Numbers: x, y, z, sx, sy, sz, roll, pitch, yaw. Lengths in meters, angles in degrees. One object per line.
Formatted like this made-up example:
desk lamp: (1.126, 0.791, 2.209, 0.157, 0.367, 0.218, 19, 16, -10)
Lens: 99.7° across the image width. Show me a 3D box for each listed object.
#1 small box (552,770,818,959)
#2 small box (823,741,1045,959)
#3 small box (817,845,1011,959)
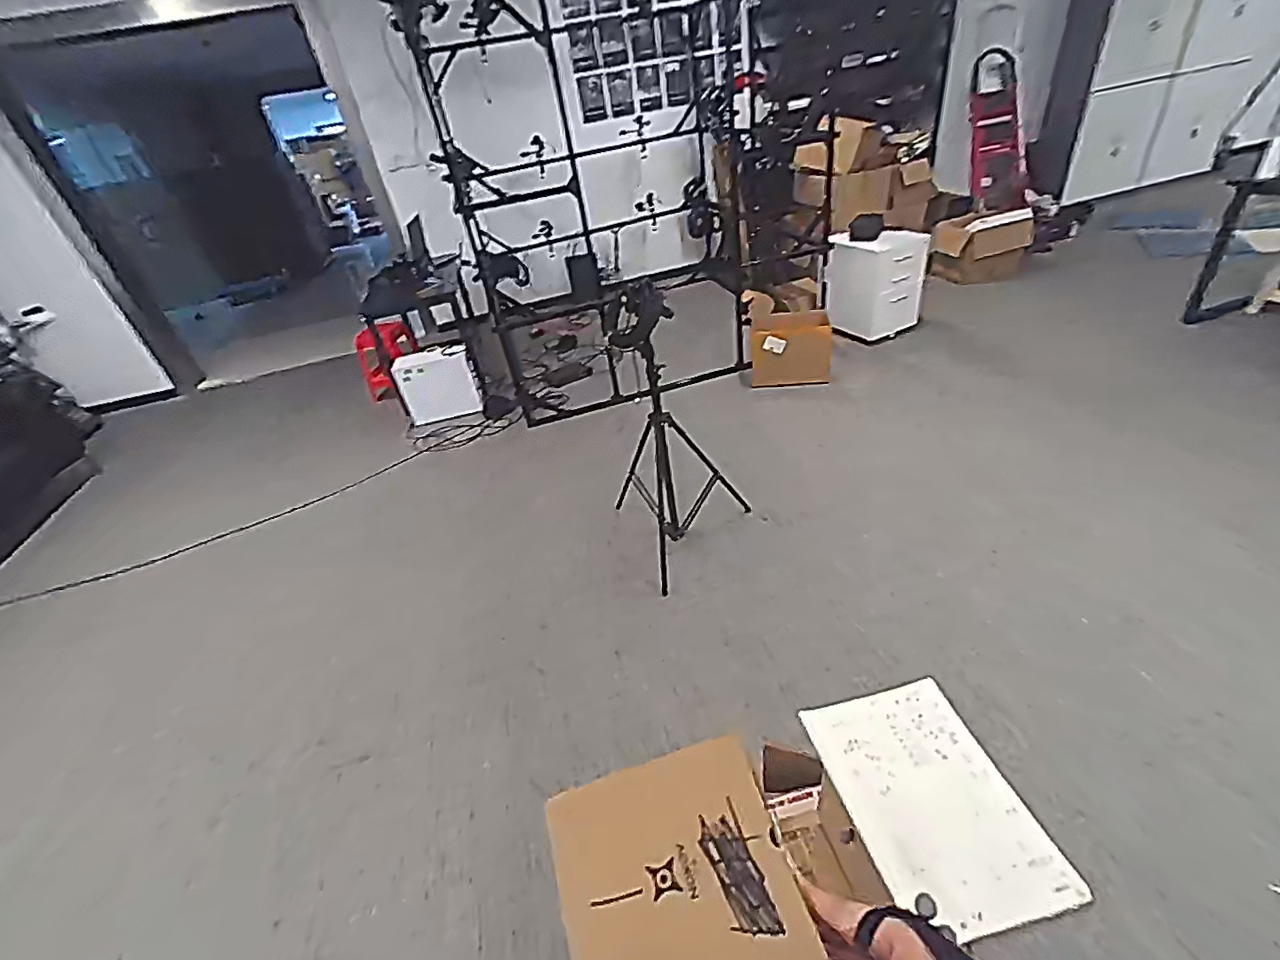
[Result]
small box: (0.035, 0.380, 0.470, 0.179, 0.176, 0.168, -15, 51, -8)
small box: (0.353, 0.479, 0.692, 0.168, 0.176, 0.179, -14, 36, -9)
small box: (0.376, 0.615, 0.779, 0.179, 0.176, 0.168, -16, 36, -10)
